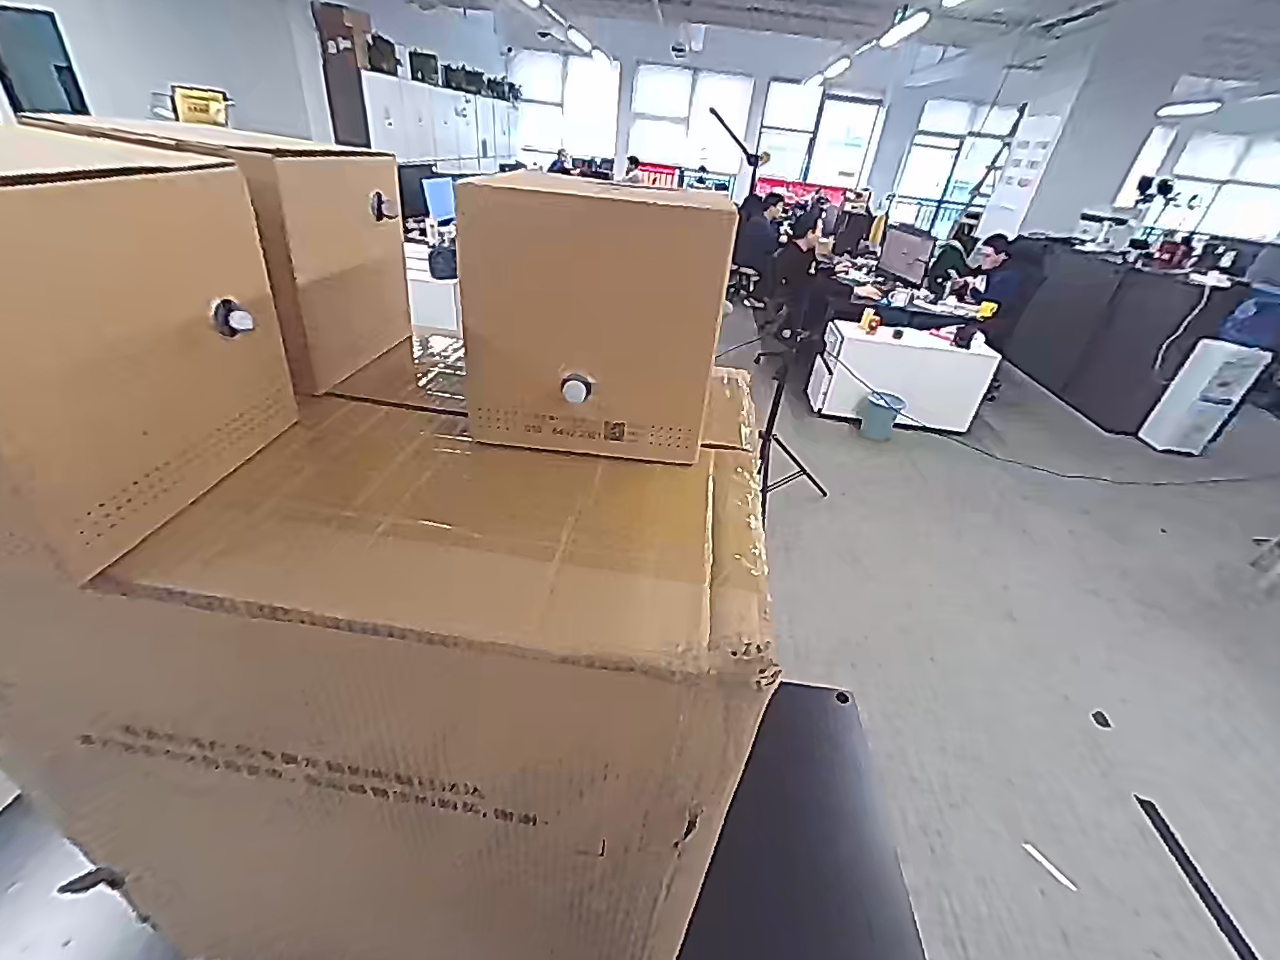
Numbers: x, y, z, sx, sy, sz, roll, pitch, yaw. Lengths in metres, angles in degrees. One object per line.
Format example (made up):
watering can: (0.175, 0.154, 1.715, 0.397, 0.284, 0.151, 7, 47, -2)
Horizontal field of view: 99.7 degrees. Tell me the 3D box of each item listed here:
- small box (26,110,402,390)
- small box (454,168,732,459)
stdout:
small box: (-0.317, -0.191, 0.455, 0.168, 0.176, 0.179, 7, 30, 0)
small box: (-0.030, -0.134, 0.419, 0.168, 0.176, 0.179, 6, 31, 0)
